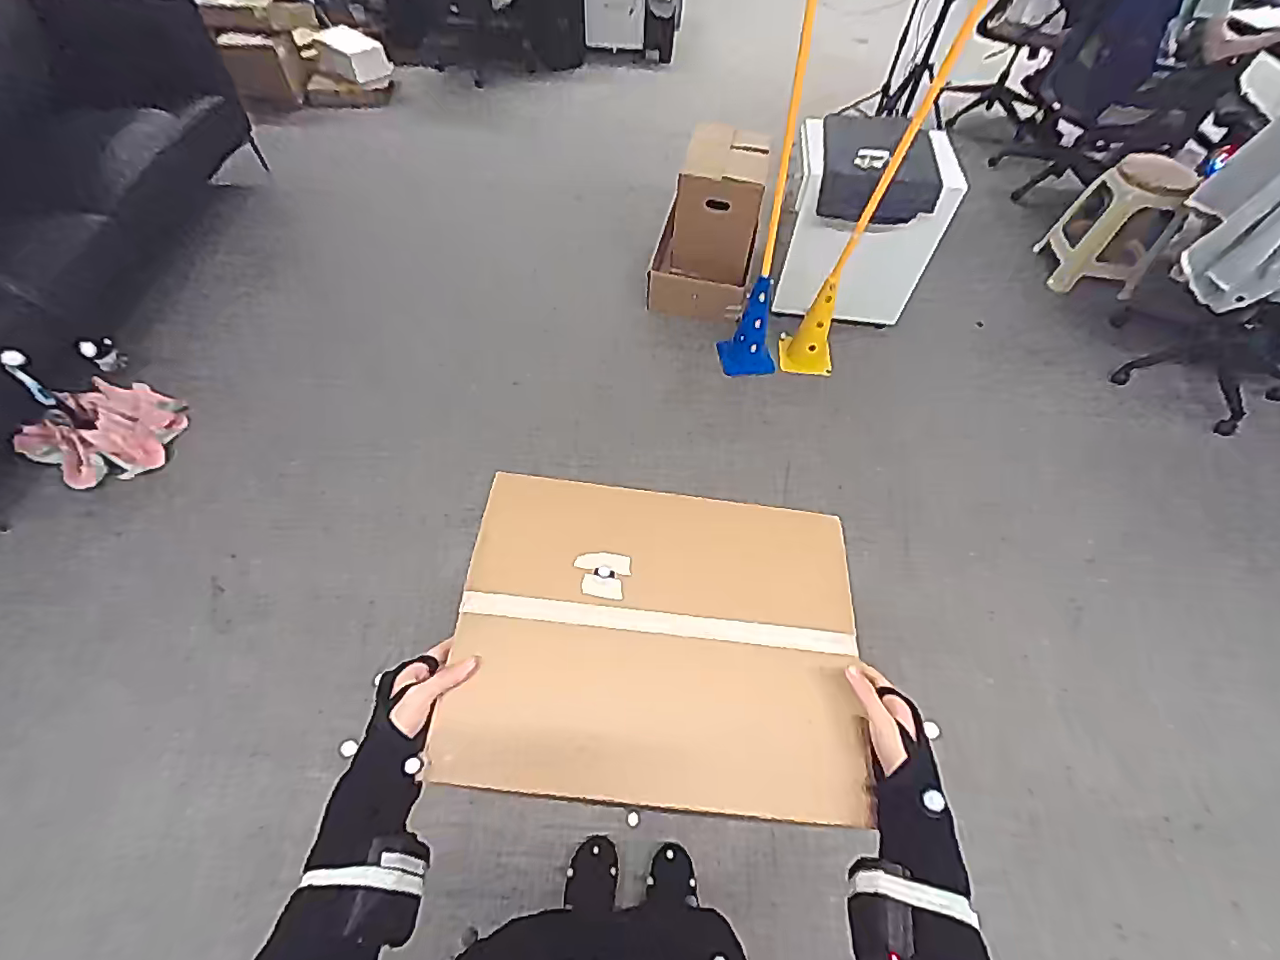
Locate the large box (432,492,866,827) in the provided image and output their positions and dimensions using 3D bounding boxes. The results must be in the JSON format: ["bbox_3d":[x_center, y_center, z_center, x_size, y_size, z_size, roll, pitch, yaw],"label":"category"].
[{"bbox_3d":[0.011,0.241,0.689,0.408,0.320,0.320,7,57,-2],"label":"large box"}]
